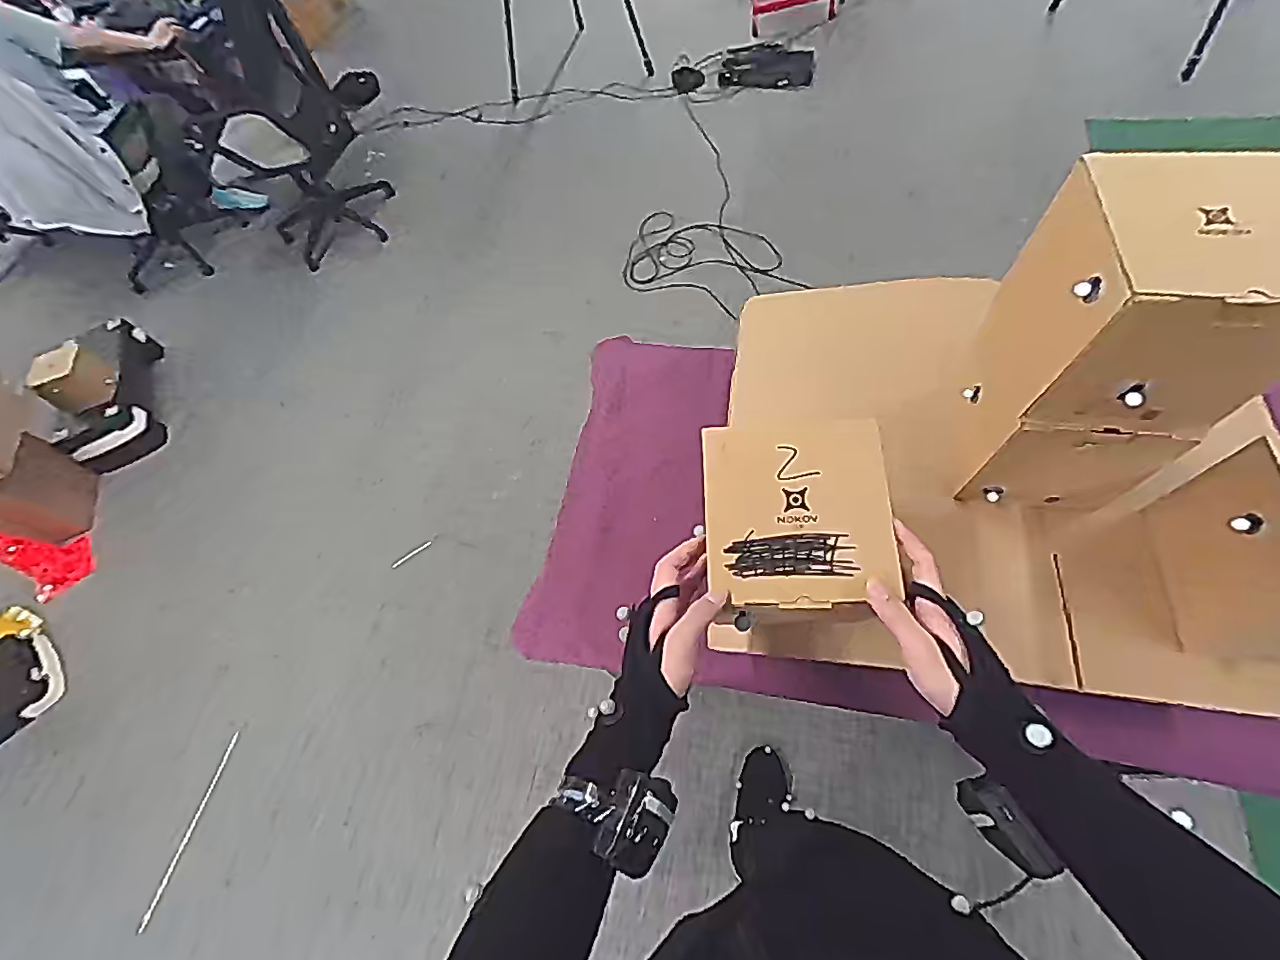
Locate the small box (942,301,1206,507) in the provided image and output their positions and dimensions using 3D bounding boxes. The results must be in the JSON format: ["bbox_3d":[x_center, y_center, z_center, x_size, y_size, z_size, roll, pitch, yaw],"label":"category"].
[{"bbox_3d":[0.478,-0.082,0.632,0.168,0.176,0.179,5,62,8],"label":"small box"}]

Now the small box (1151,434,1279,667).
[{"bbox_3d":[0.660,0.078,0.526,0.168,0.176,0.179,6,63,10],"label":"small box"}]

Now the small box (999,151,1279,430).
[{"bbox_3d":[0.462,-0.165,0.494,0.168,0.176,0.179,5,64,8],"label":"small box"}]
